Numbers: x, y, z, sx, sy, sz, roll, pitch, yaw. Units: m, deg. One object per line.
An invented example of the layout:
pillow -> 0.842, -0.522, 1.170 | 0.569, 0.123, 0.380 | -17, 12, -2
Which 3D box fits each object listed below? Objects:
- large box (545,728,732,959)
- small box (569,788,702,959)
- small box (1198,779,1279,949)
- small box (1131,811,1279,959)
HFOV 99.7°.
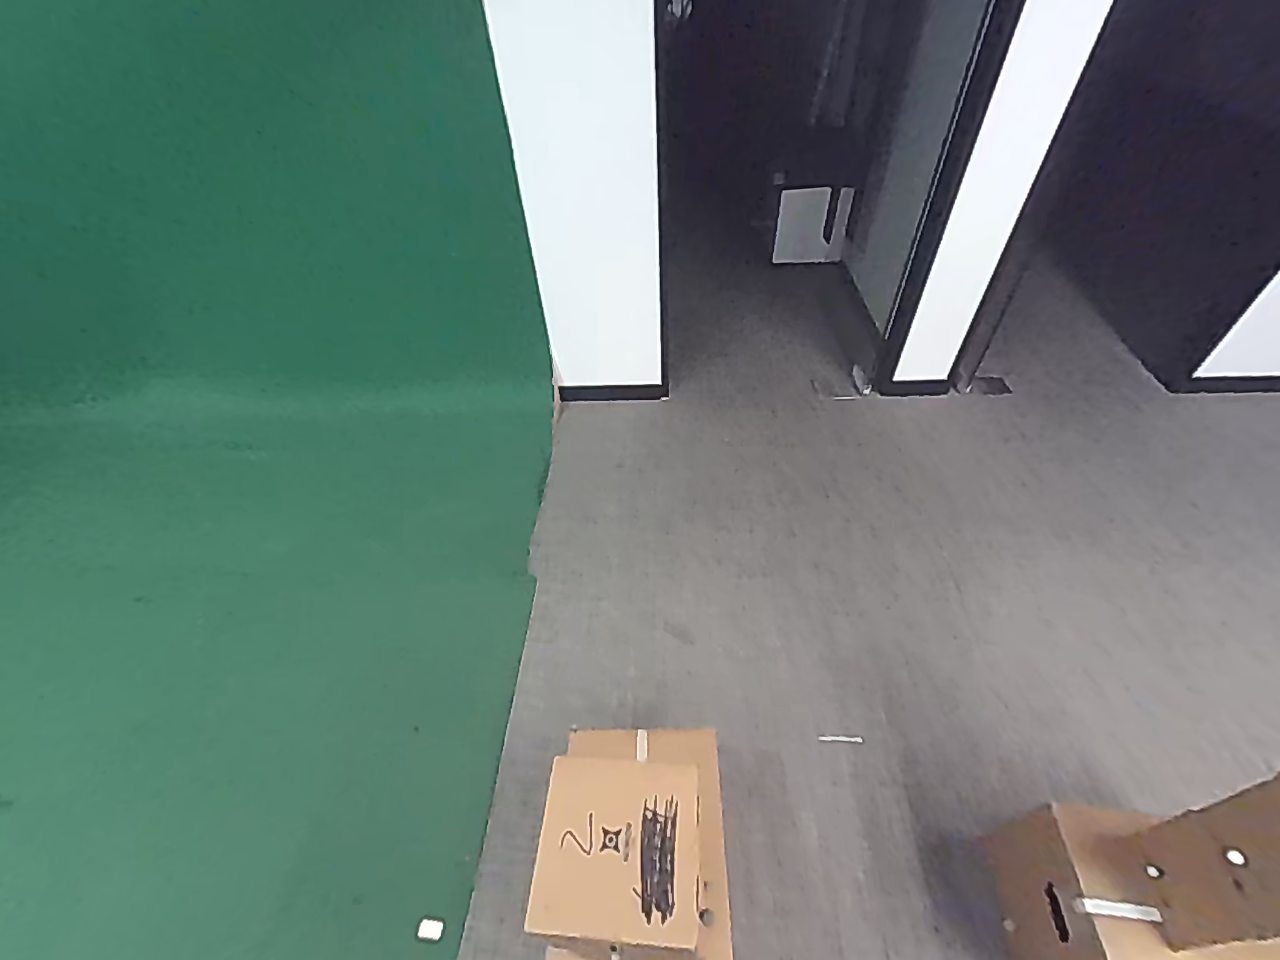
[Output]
large box -> 0.006, 0.777, 1.117 | 0.320, 0.320, 0.408 | -1, 45, 3
small box -> 0.004, 0.558, 0.761 | 0.168, 0.176, 0.179 | 1, 45, 4
small box -> 0.937, 0.534, 0.727 | 0.179, 0.176, 0.168 | 7, 45, 11
small box -> 0.942, 0.648, 0.845 | 0.179, 0.176, 0.168 | 6, 45, 10
